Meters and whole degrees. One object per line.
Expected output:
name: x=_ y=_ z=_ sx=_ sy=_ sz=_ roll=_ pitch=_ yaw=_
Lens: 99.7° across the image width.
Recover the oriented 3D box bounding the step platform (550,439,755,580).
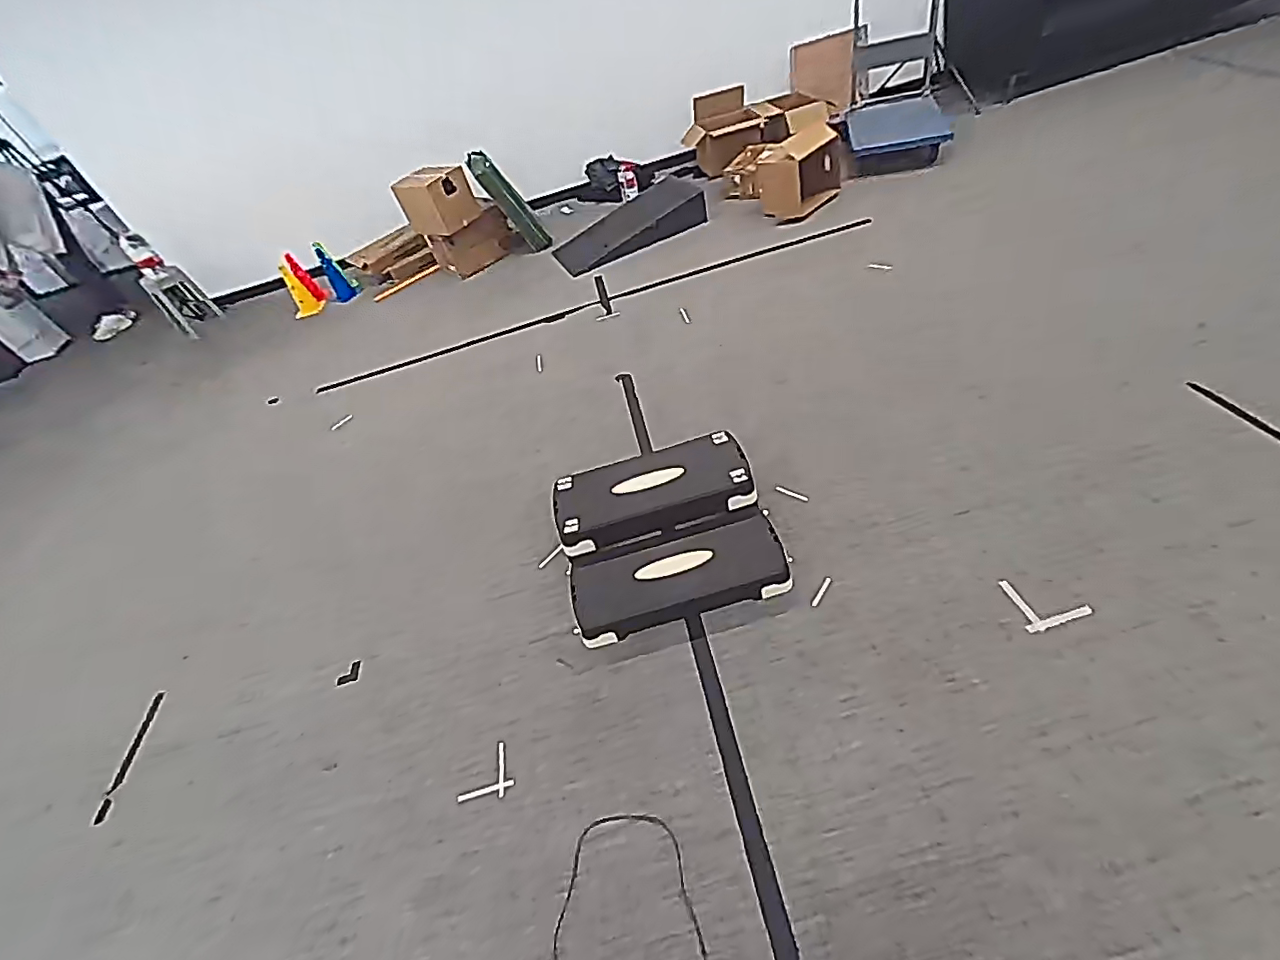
step platform: x=0.036 y=0.093 z=1.847 sx=0.684 sy=0.204 sz=0.286 roll=-17 pitch=45 yaw=0
